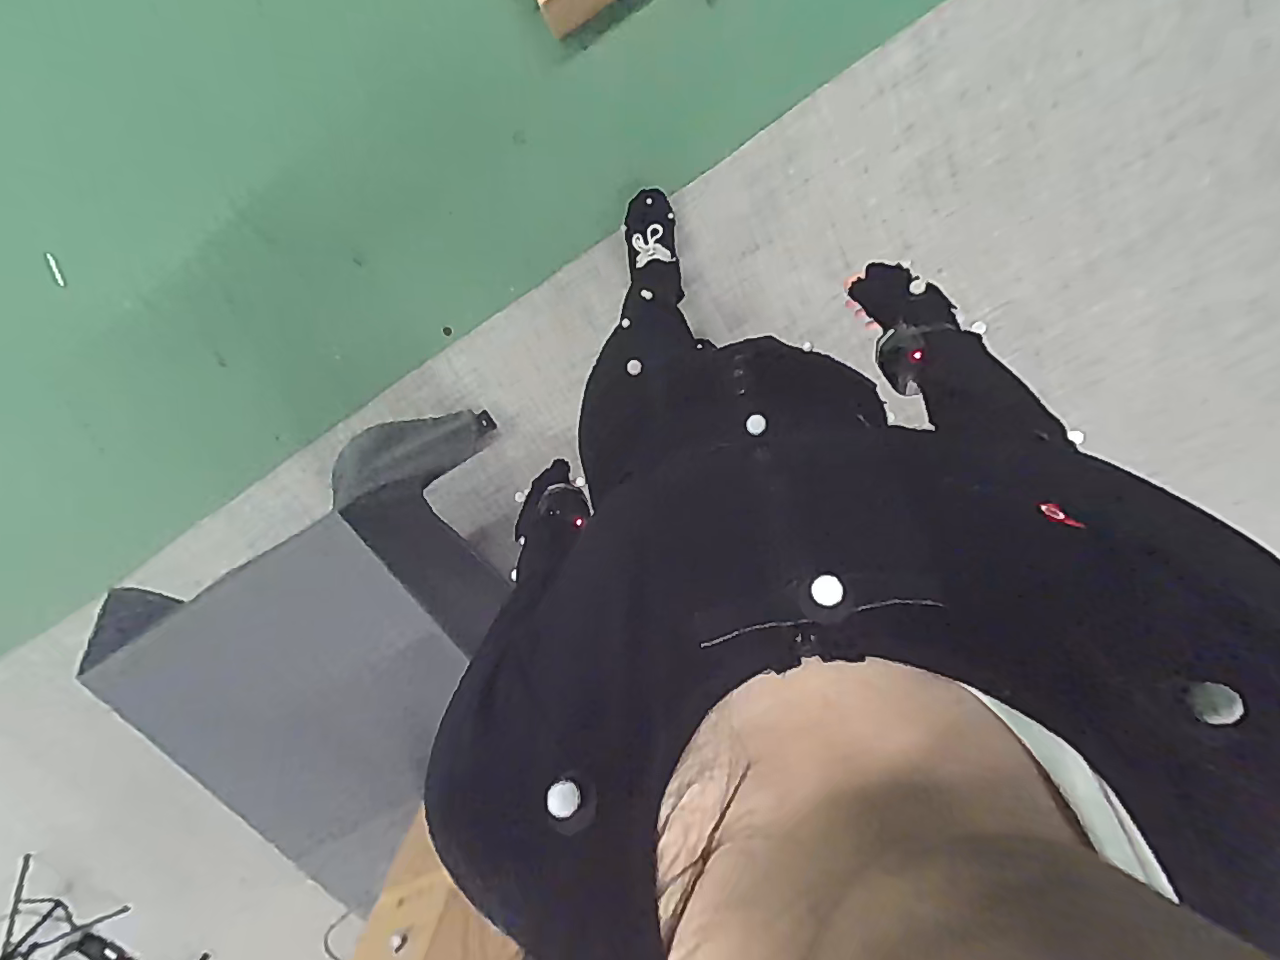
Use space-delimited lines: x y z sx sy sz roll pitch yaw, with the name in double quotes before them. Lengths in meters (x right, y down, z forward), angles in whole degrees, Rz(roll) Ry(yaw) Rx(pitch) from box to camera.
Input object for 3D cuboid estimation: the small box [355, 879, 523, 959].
"small box" -0.291 0.699 0.752 0.168 0.176 0.179 -31 105 12
